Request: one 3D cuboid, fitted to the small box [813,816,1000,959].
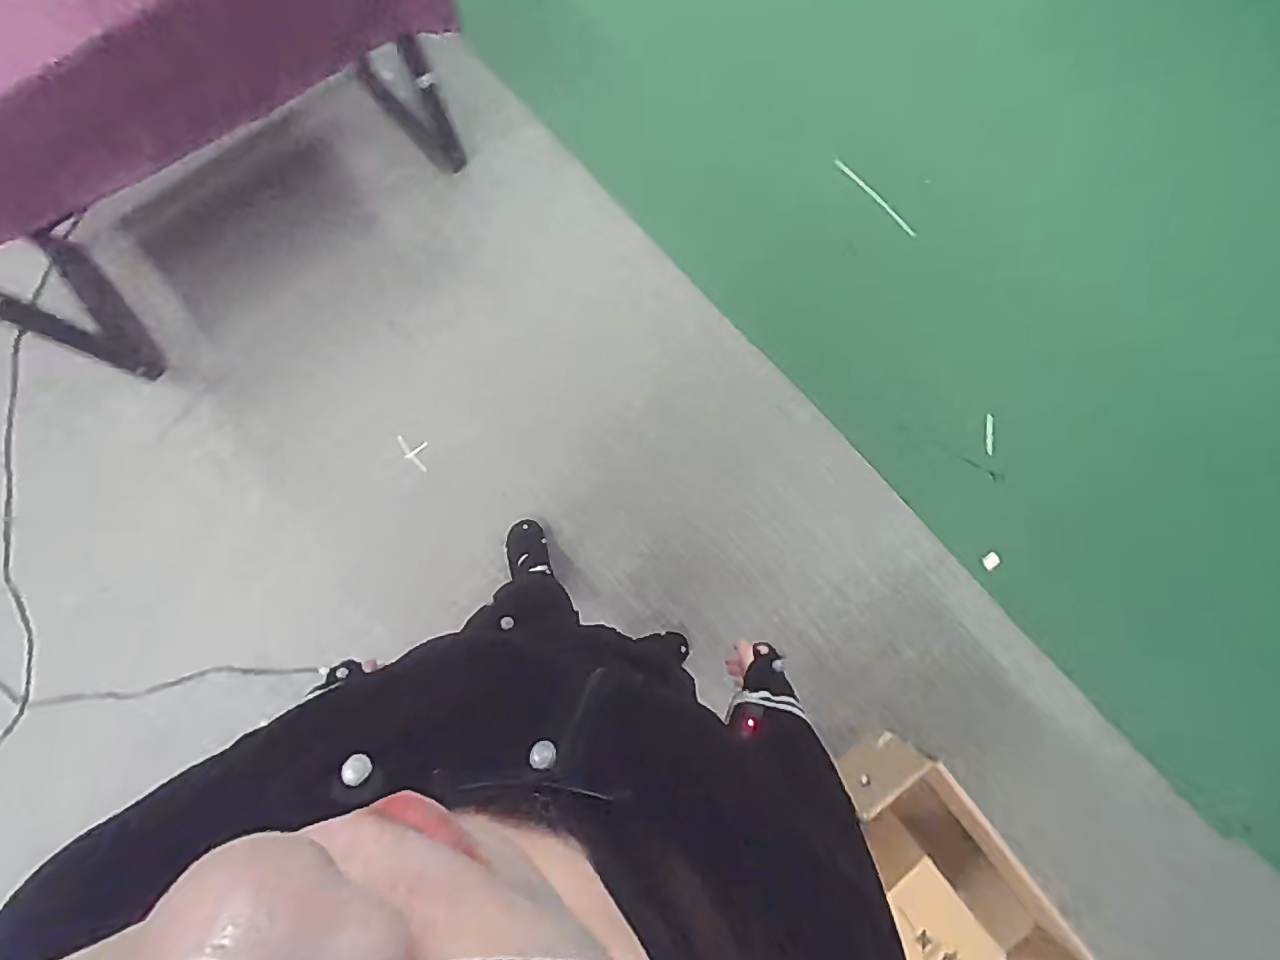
[{"bbox_3d":[0.414,0.695,0.872,0.168,0.176,0.179,-36,80,-6],"label":"small box"}]
